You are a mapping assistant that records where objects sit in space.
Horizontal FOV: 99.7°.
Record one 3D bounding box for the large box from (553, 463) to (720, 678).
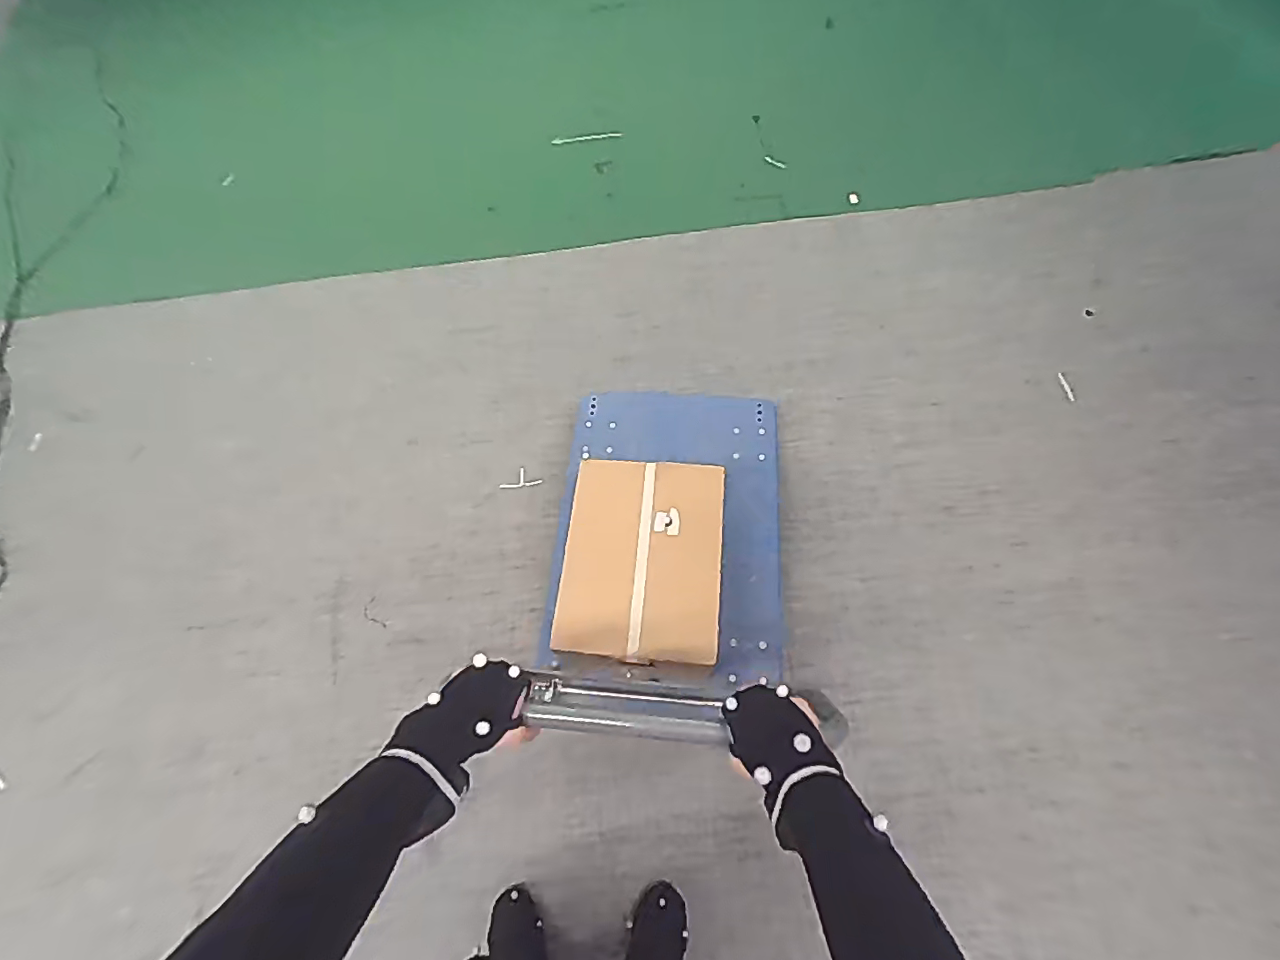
[{"bbox_3d":[0.014,0.213,1.218,0.320,0.320,0.408,4,64,5],"label":"large box"}]
